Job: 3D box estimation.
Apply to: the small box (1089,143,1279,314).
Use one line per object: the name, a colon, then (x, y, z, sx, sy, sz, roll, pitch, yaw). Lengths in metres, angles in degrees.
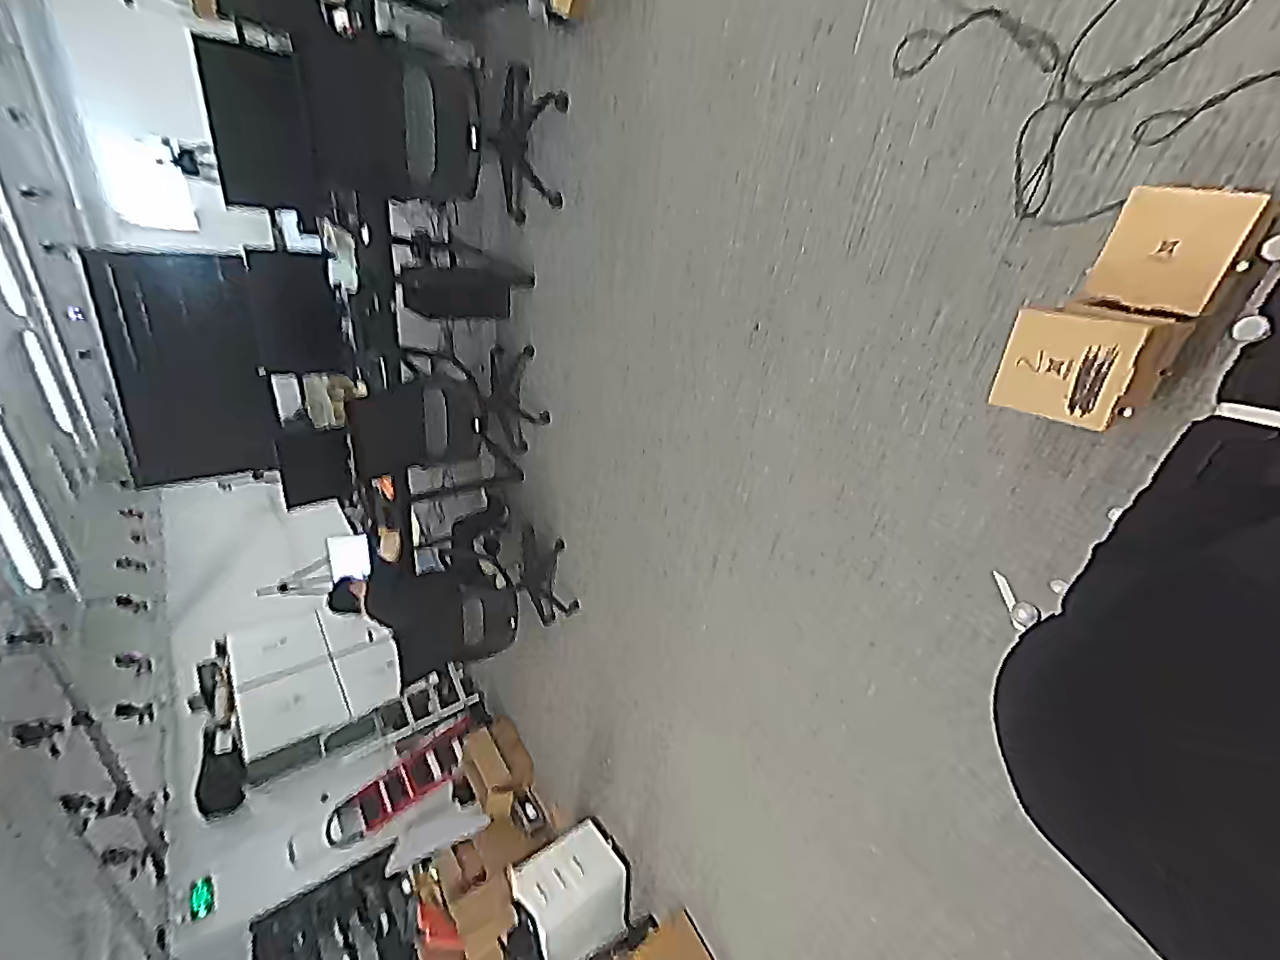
small box: (0.859, -0.385, 0.851, 0.179, 0.176, 0.168, 51, 125, 15)
